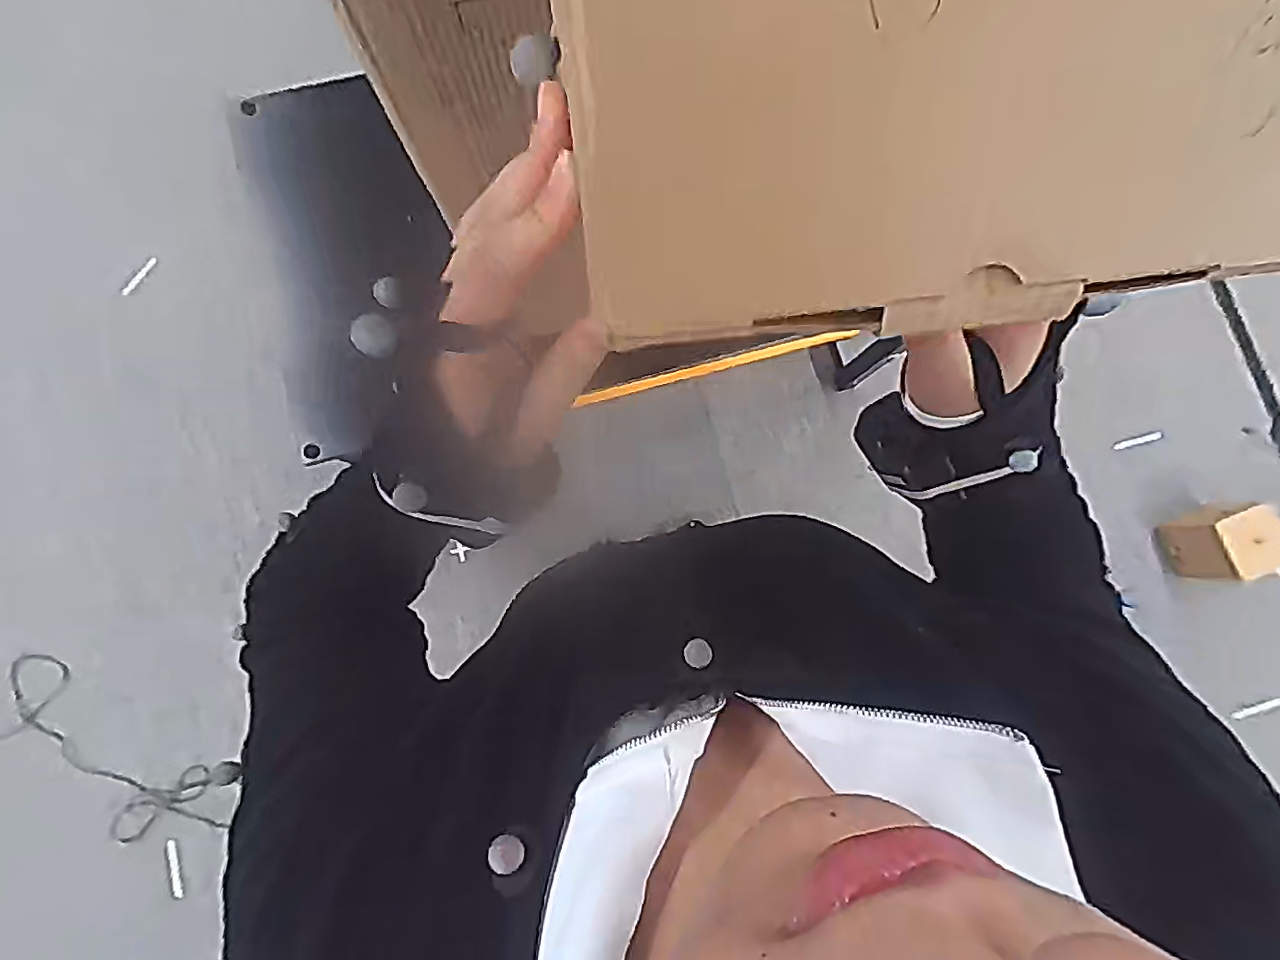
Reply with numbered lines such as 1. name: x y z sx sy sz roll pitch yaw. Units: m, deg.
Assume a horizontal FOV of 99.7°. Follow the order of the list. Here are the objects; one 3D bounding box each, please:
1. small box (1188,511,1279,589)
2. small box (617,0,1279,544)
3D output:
1. small box: 1.620 0.171 1.414 0.179 0.176 0.168 -22 84 -3
2. small box: 0.084 -0.114 0.082 0.168 0.176 0.179 -8 113 -4
